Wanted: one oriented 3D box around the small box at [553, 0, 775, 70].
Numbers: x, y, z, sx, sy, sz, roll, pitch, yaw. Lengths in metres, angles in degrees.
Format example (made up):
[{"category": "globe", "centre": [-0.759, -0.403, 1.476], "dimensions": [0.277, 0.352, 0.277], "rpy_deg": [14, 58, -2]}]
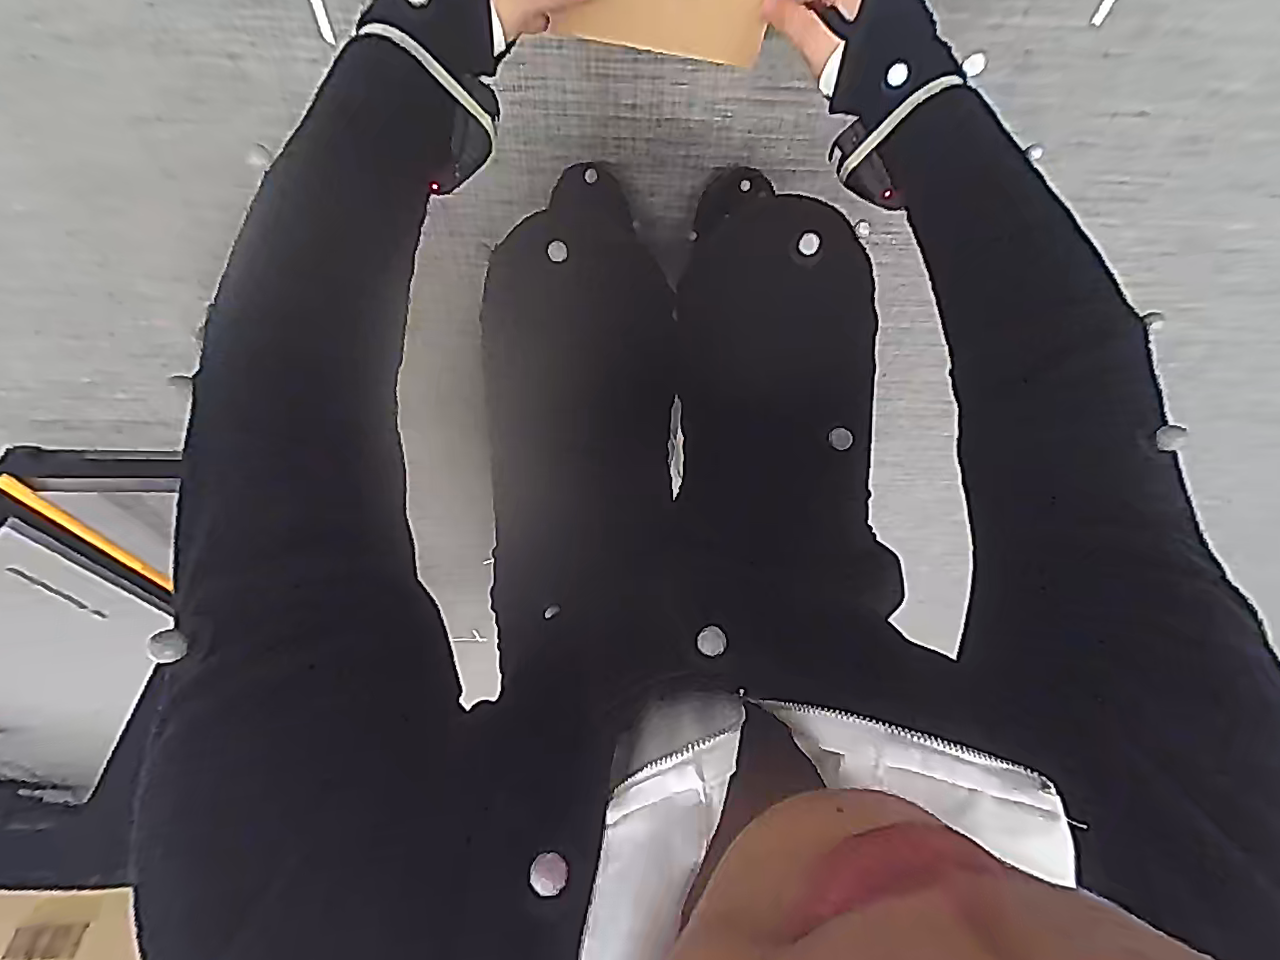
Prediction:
[{"category": "small box", "centre": [0.022, -0.450, 0.399], "dimensions": [0.168, 0.176, 0.179], "rpy_deg": [2, 146, -9]}]
